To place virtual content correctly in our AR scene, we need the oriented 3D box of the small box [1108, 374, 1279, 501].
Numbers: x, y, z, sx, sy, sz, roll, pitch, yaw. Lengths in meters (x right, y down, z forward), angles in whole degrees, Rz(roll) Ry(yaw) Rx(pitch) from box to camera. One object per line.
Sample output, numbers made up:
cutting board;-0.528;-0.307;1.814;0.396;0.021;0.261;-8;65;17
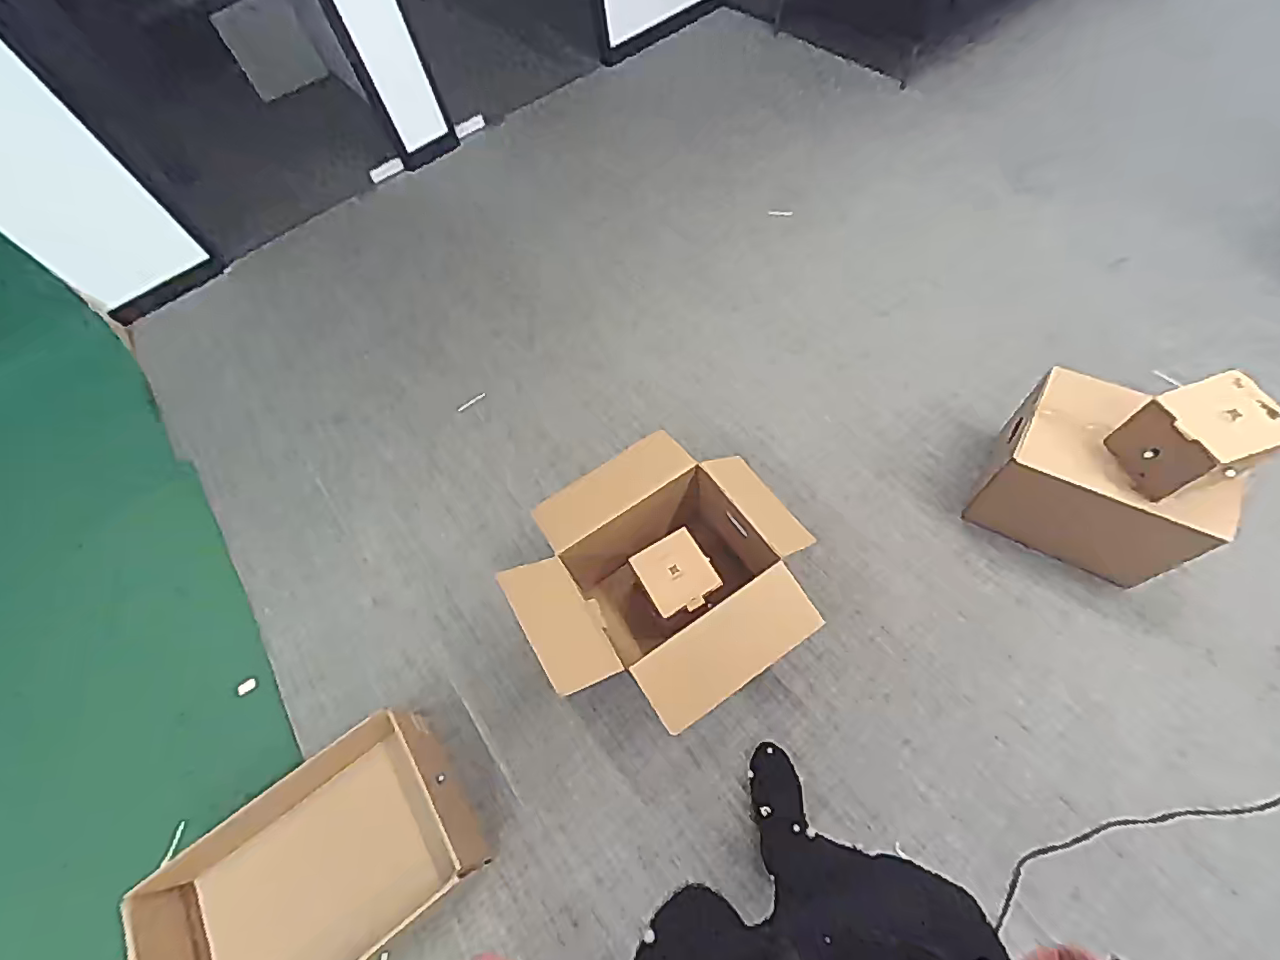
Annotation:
small box;1.110;-0.078;1.095;0.179;0.176;0.168;-19;61;0
